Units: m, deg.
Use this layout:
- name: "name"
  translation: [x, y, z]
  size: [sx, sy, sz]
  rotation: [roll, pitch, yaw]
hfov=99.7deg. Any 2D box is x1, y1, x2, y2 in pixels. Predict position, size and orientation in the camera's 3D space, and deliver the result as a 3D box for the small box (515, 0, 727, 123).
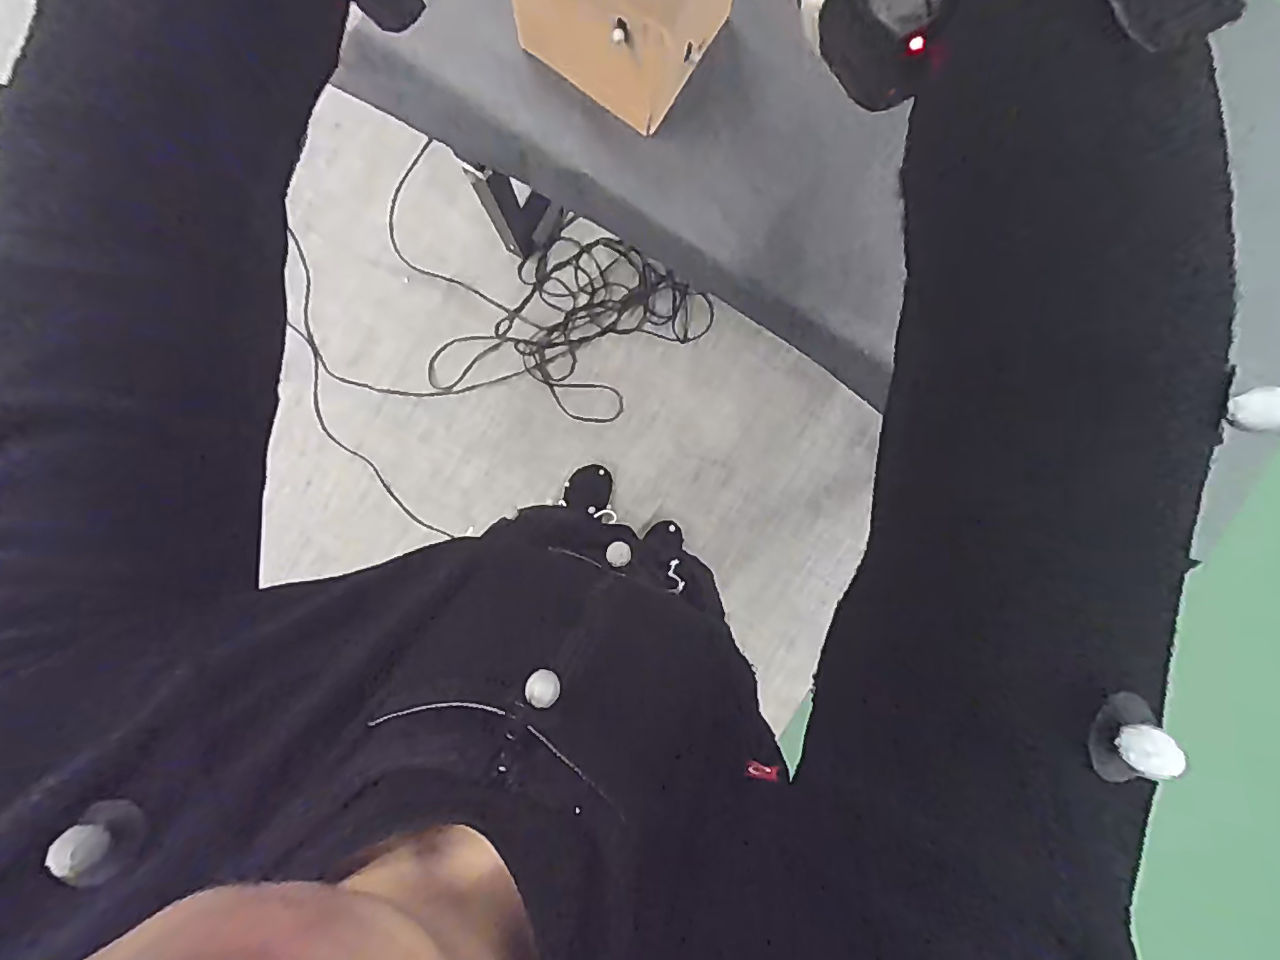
- name: "small box"
  translation: [-0.014, -0.497, 0.519]
  size: [0.179, 0.176, 0.168]
  rotation: [33, 92, -7]
